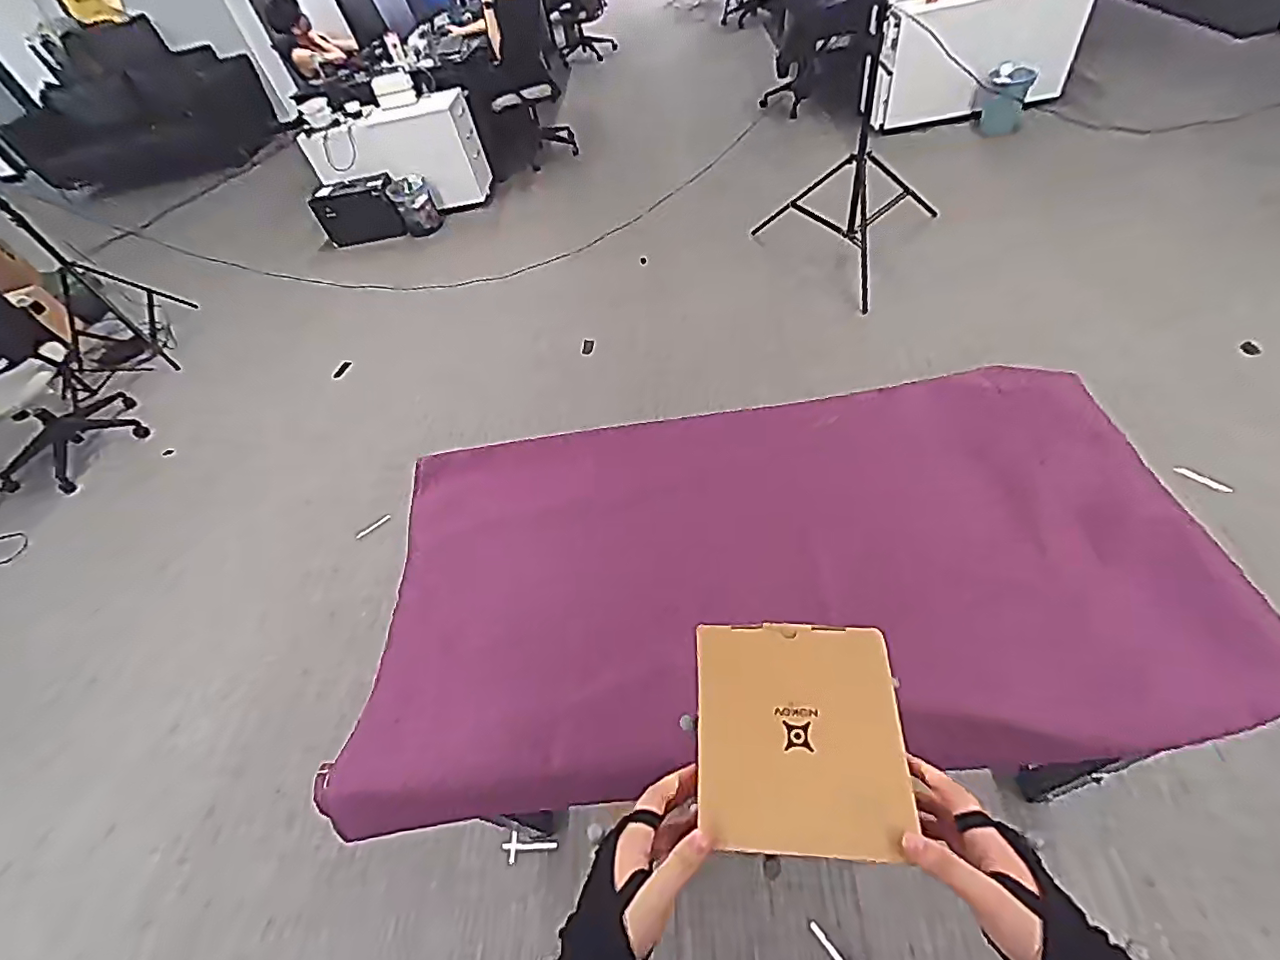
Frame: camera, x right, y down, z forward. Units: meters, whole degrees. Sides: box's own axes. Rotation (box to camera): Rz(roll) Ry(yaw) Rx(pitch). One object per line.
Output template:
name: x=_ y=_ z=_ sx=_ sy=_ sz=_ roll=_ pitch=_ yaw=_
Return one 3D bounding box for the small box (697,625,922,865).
small box: x=0.142 y=0.252 z=0.514 sx=0.168 sy=0.176 sz=0.179 roll=-1 pitch=55 yaw=8
